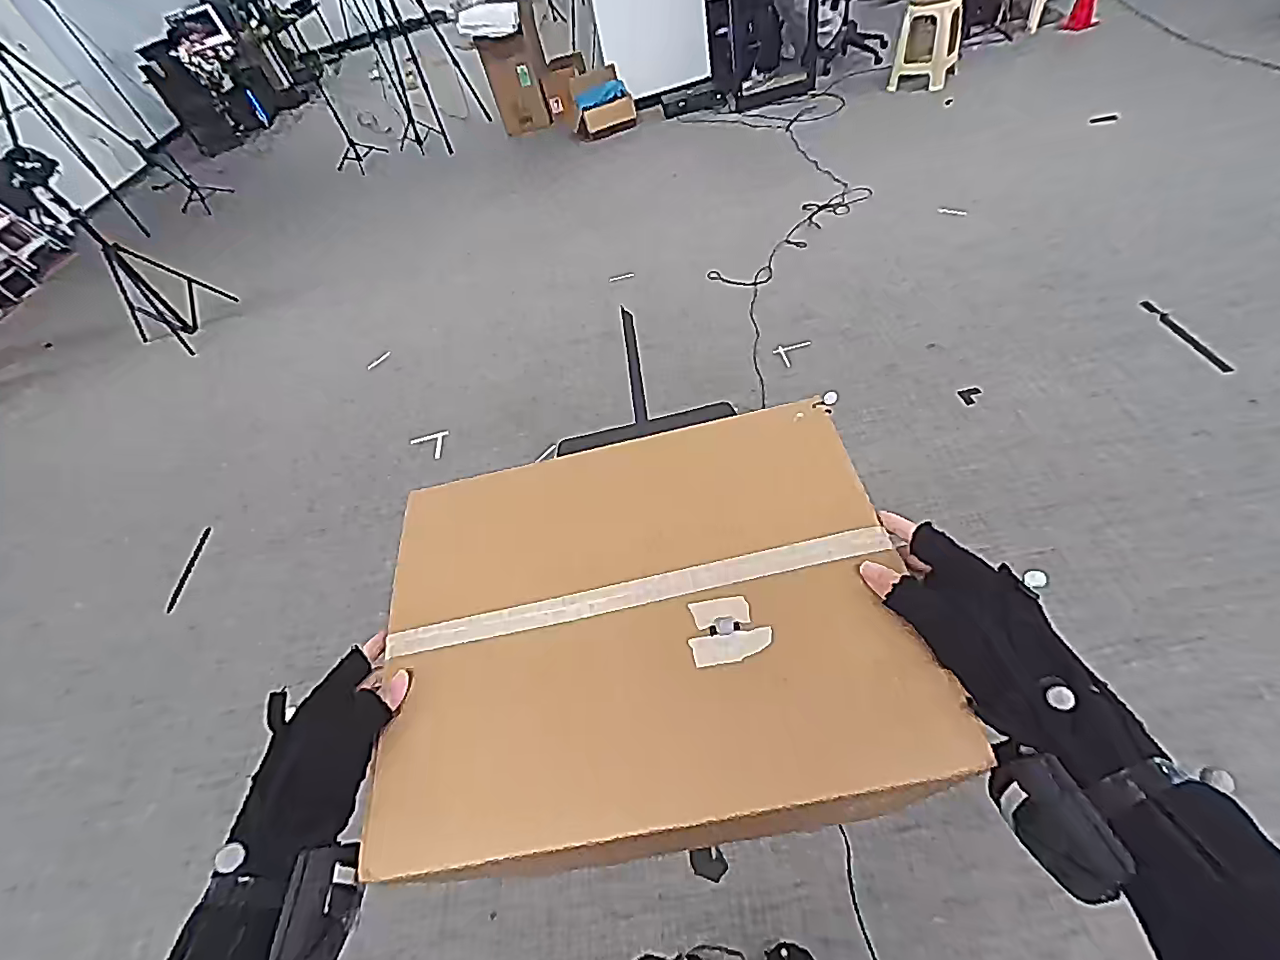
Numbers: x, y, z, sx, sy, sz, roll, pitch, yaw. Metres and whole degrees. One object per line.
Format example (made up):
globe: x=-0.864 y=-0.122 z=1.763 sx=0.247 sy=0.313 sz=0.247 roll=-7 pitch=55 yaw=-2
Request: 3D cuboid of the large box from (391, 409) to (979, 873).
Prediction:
large box: x=0.027 y=0.181 z=0.557 sx=0.408 sy=0.320 sz=0.320 roll=-13 pitch=54 yaw=3
